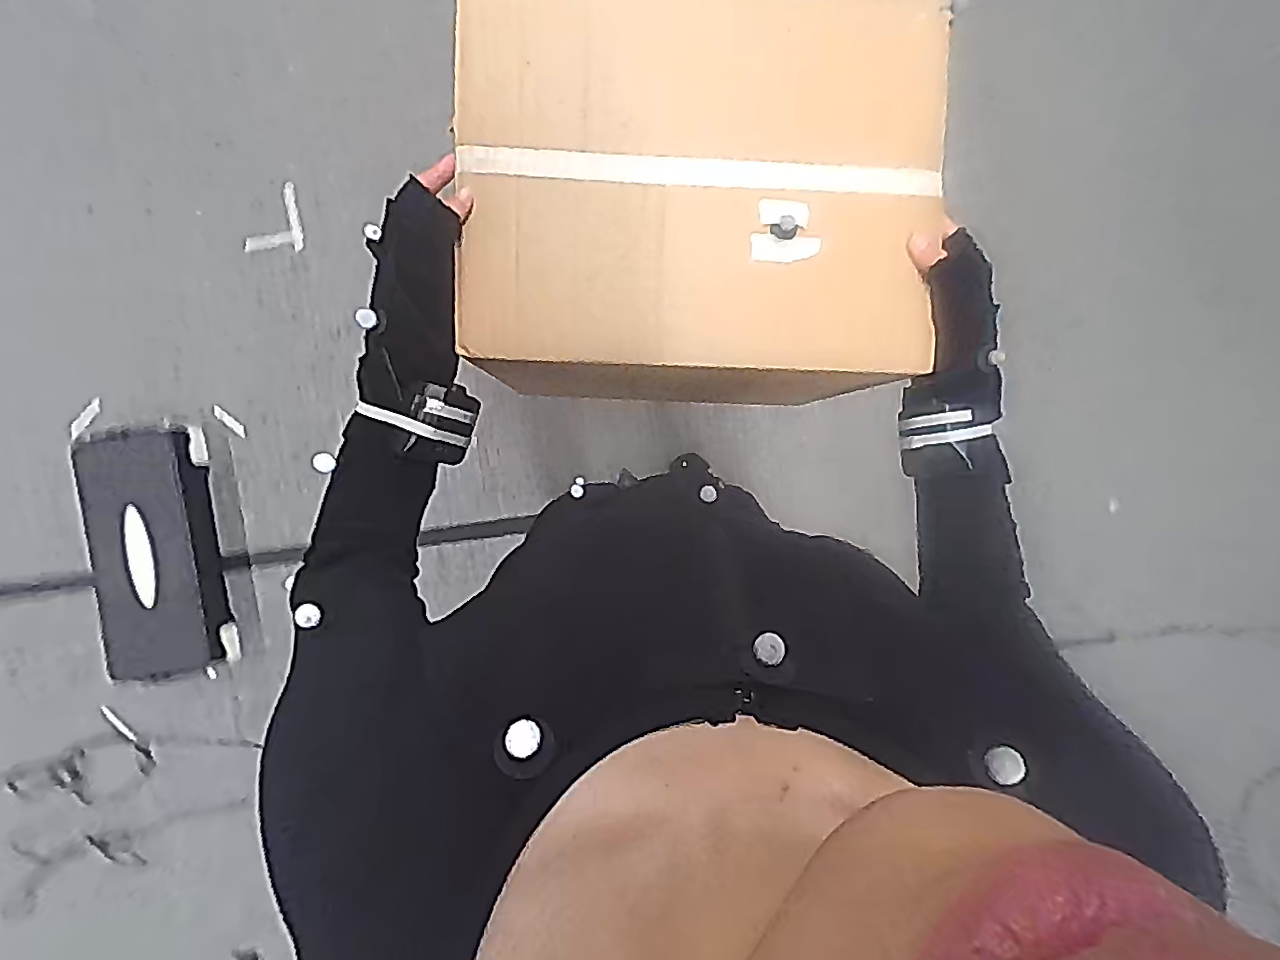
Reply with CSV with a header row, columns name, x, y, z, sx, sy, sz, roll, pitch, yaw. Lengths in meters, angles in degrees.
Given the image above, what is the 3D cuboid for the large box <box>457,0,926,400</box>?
name,x,y,z,sx,sy,sz,roll,pitch,yaw
large box,0.038,-0.264,0.607,0.408,0.320,0.320,0,92,-4
